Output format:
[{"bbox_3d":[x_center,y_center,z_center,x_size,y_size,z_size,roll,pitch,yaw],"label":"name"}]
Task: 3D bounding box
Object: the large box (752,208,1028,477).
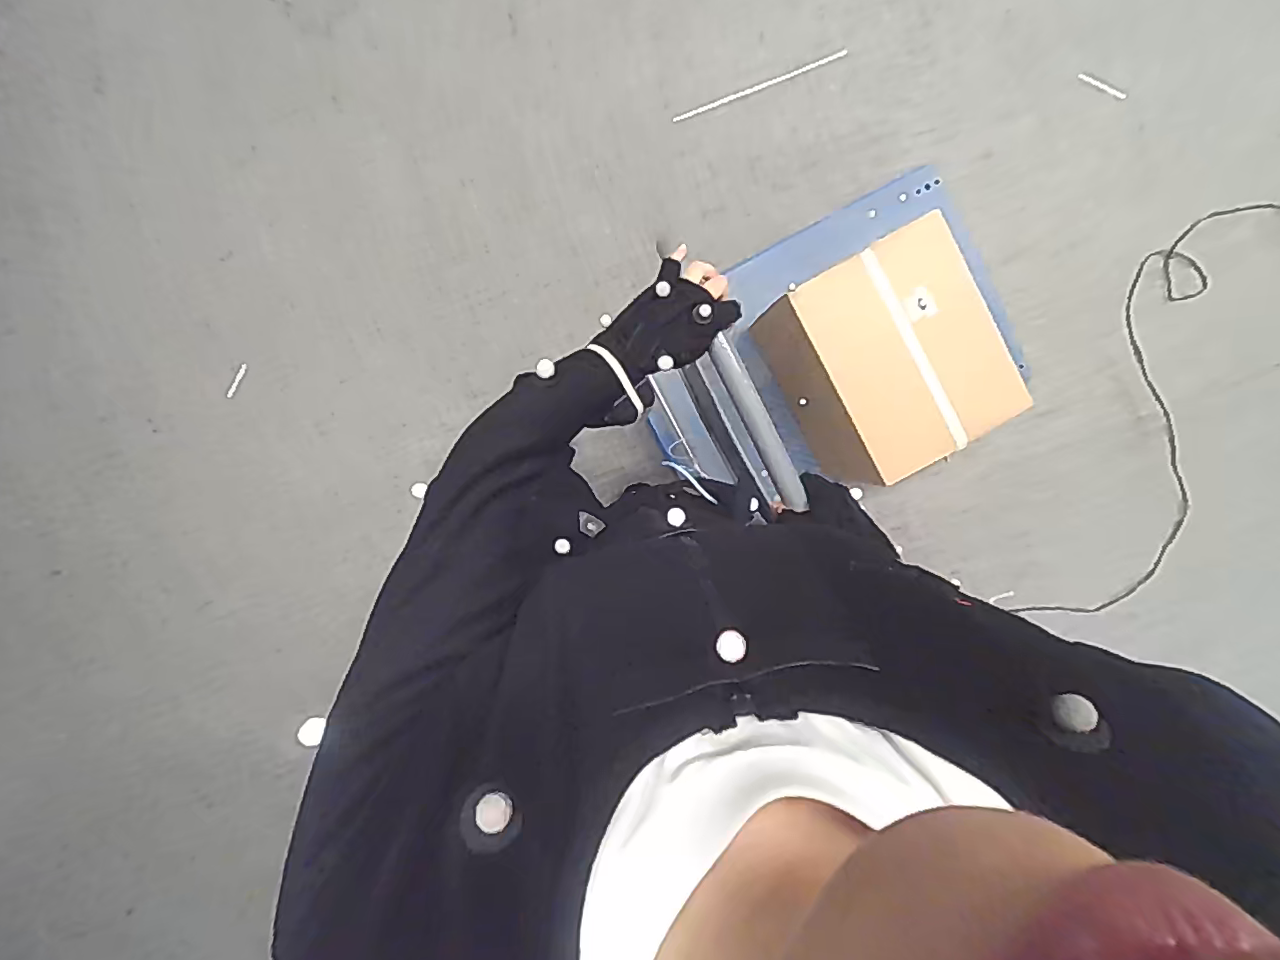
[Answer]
[{"bbox_3d":[0.487,-0.257,1.135,0.320,0.320,0.408,-29,93,1],"label":"large box"}]
